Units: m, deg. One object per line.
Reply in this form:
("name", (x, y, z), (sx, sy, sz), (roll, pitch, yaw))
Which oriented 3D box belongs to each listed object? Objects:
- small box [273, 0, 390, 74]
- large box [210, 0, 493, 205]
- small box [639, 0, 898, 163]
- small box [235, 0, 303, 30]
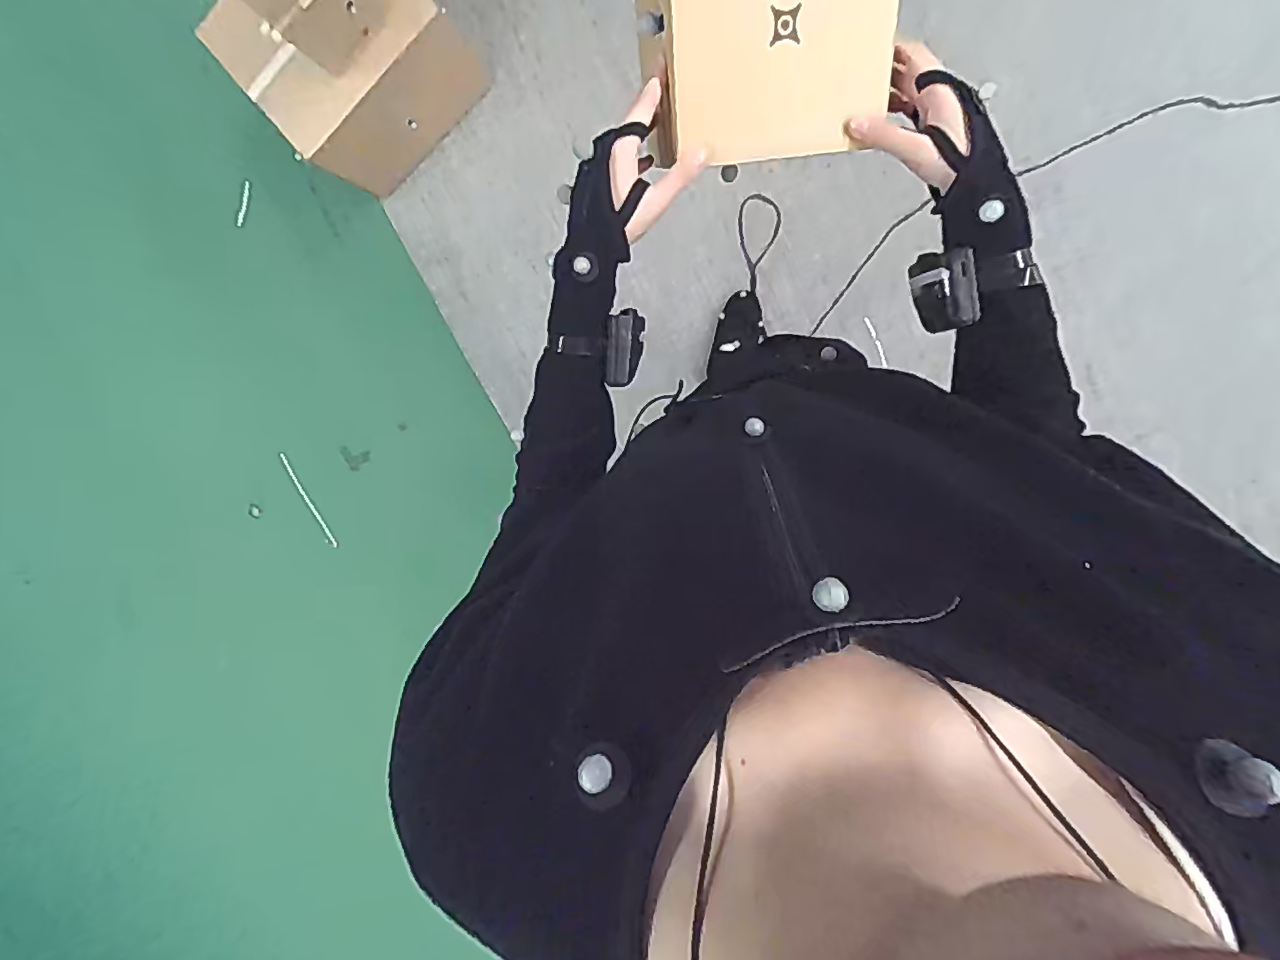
("small box", (-0.592, -0.878, 0.966), (0.168, 0.176, 0.179), (-38, 97, 11))
("large box", (-0.613, -0.915, 1.210), (0.408, 0.320, 0.320), (-39, 96, 13))
("small box", (0.091, -0.369, 0.443), (0.168, 0.176, 0.179), (-8, 120, -3))
("small box", (-0.604, -0.847, 0.806), (0.179, 0.176, 0.168), (-39, 97, 12))
